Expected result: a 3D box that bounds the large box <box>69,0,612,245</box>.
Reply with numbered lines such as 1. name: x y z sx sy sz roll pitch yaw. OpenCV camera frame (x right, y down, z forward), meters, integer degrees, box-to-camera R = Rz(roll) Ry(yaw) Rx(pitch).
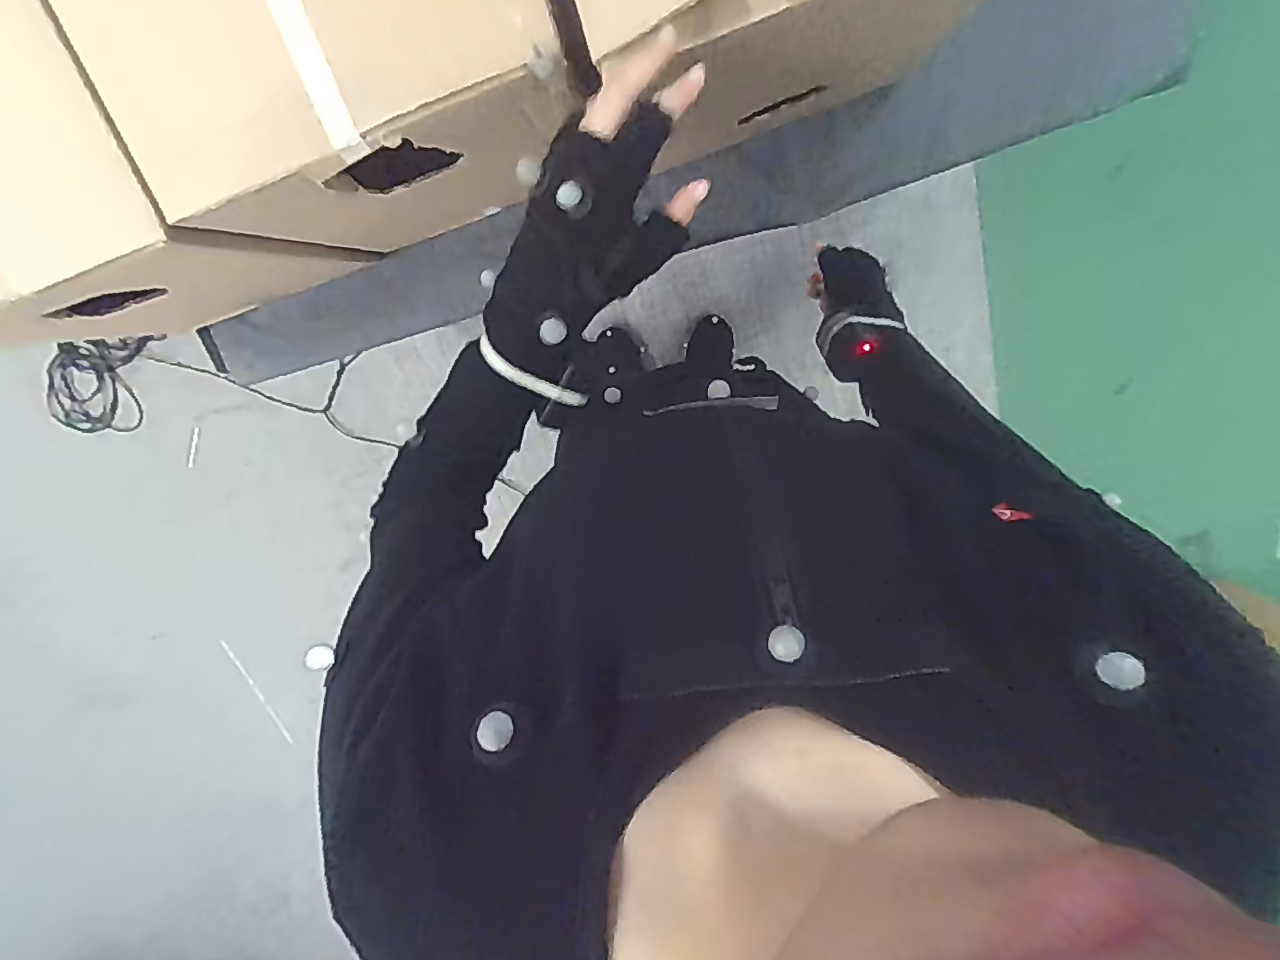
1. large box: -0.243 -0.462 0.455 0.320 0.320 0.408 -16 108 10
